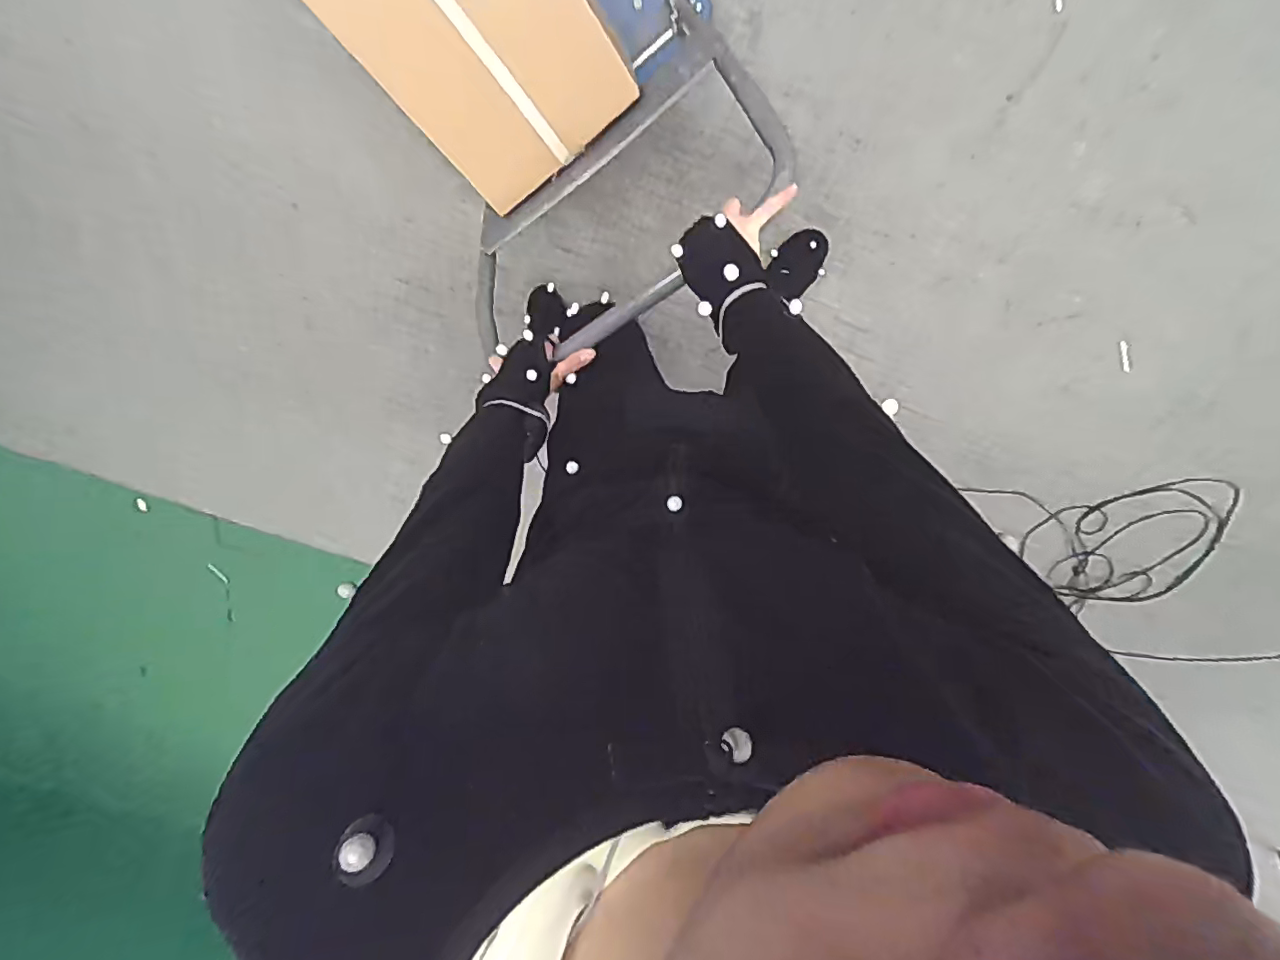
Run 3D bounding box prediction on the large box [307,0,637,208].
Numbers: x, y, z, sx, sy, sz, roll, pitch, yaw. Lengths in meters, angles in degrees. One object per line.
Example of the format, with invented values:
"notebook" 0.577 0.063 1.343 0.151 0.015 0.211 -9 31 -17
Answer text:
"large box" -0.249 -0.761 0.890 0.320 0.320 0.408 -29 133 23
